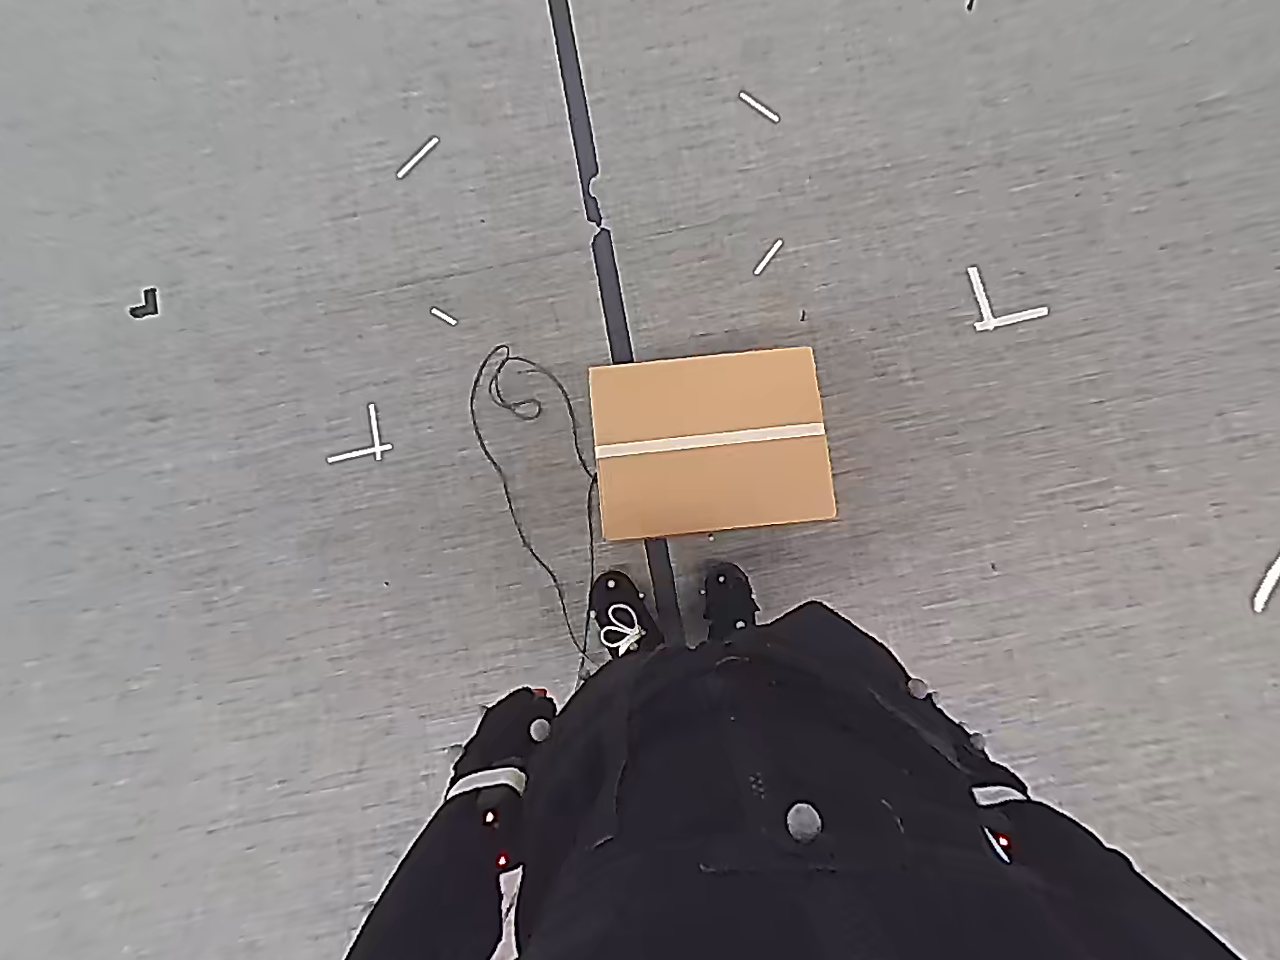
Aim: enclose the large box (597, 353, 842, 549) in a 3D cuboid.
[{"bbox_3d":[0.138,-0.036,1.097,0.408,0.320,0.320,-6,83,0],"label":"large box"}]
